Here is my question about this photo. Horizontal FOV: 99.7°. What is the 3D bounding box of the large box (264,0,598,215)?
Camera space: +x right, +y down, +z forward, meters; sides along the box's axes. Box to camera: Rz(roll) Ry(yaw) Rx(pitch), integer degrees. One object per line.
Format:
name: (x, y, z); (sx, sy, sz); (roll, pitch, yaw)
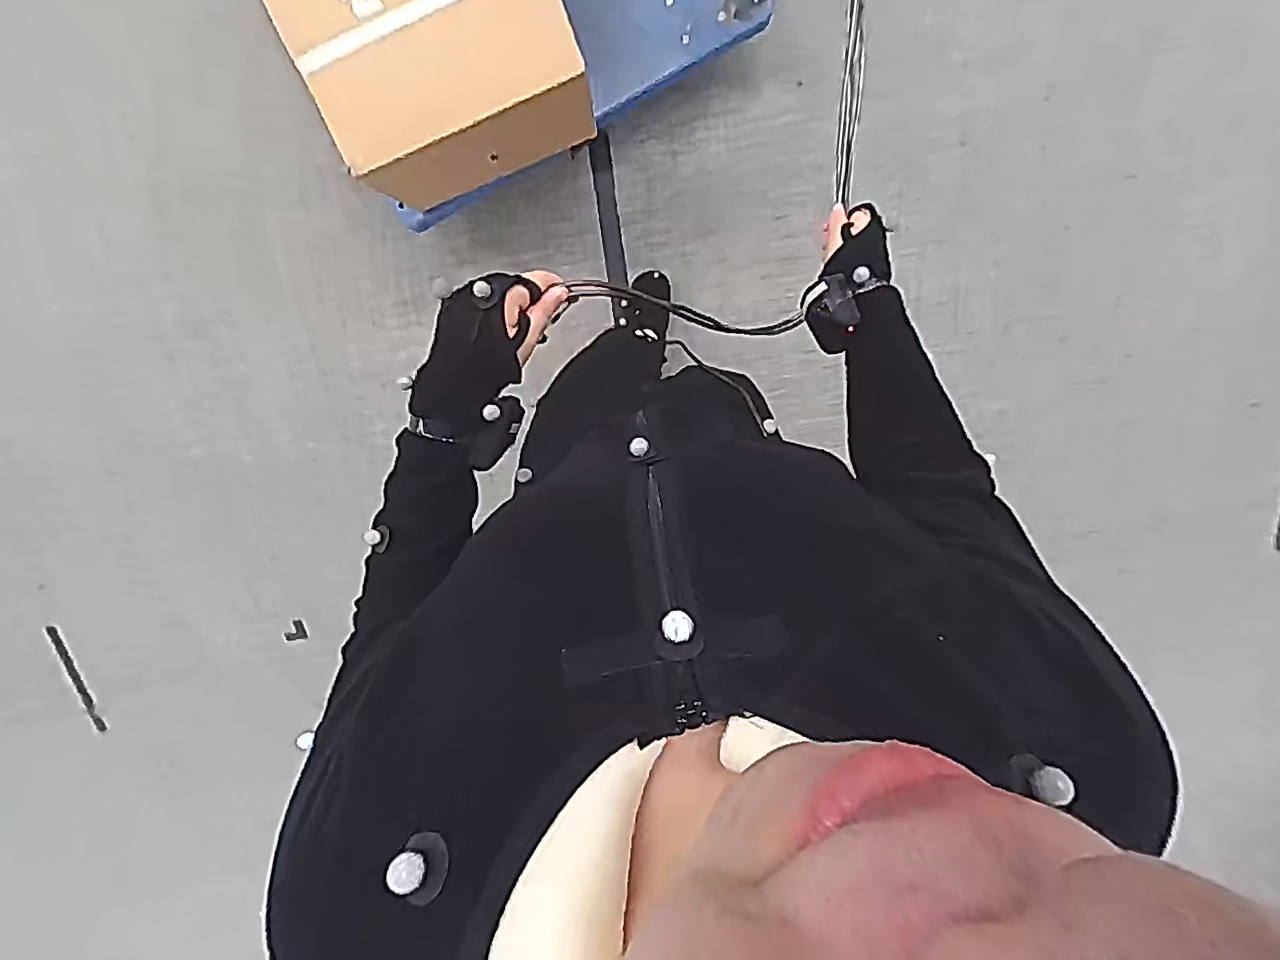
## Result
large box: (-0.320, -0.715, 0.938); (0.408, 0.320, 0.320); (-21, 106, 6)
